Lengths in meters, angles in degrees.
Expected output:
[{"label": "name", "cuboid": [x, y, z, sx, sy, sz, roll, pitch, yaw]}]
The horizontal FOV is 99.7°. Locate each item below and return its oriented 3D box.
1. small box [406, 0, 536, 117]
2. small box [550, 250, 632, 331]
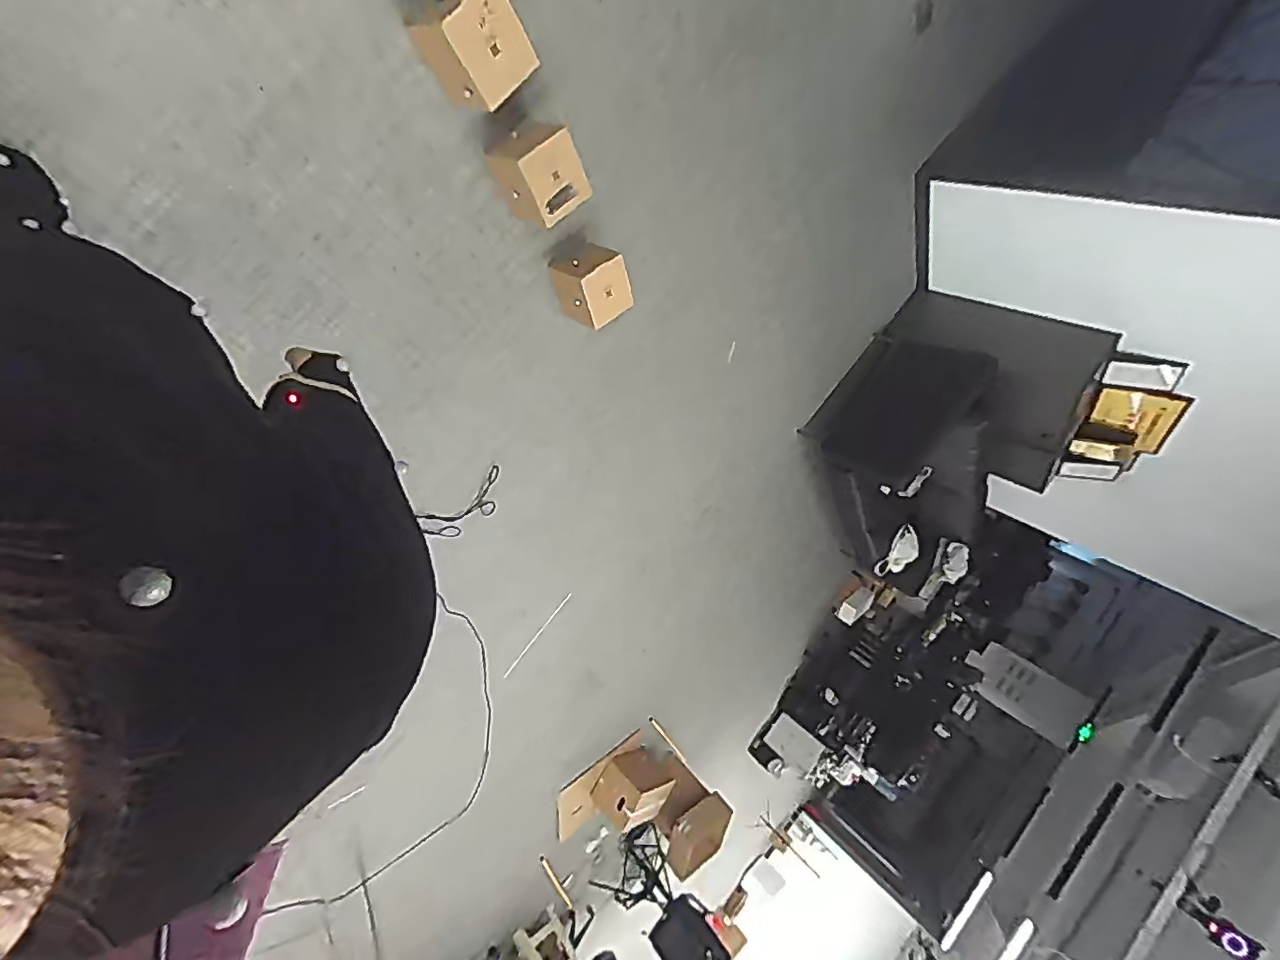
[{"label": "small box", "cuboid": [-0.369, -0.939, 1.186, 0.168, 0.176, 0.179, -51, 143, -8]}, {"label": "small box", "cuboid": [-0.154, -0.597, 1.682, 0.168, 0.176, 0.179, -40, 141, -20]}]
